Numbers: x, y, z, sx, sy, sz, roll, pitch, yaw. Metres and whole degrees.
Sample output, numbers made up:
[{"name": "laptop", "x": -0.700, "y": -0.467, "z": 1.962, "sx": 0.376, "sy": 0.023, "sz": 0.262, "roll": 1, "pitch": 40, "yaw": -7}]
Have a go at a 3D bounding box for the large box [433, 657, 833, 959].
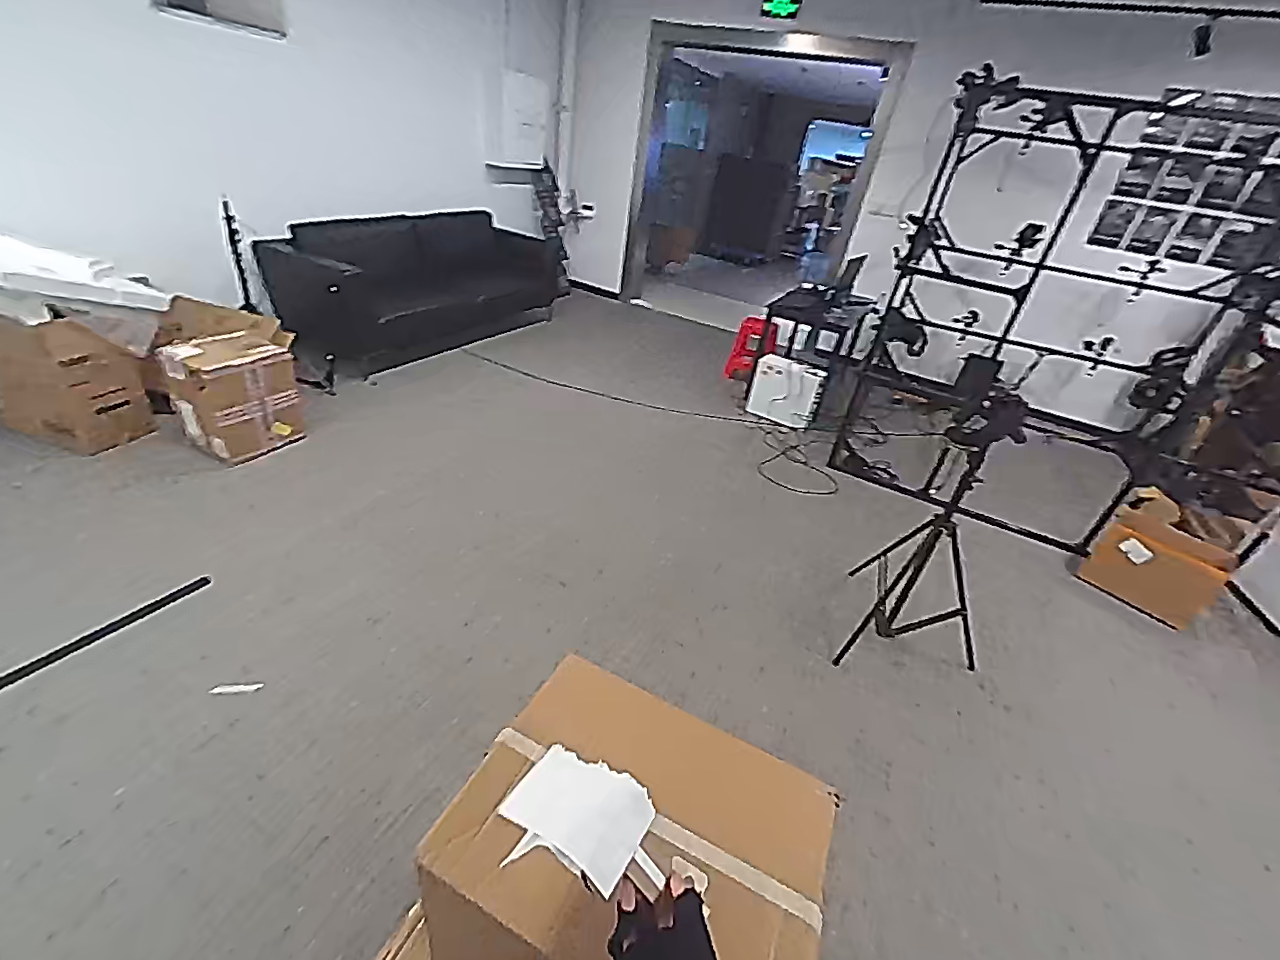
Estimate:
[{"name": "large box", "x": -0.010, "y": 0.520, "z": 0.720, "sx": 0.408, "sy": 0.320, "sz": 0.320, "roll": 21, "pitch": 34, "yaw": 17}]
